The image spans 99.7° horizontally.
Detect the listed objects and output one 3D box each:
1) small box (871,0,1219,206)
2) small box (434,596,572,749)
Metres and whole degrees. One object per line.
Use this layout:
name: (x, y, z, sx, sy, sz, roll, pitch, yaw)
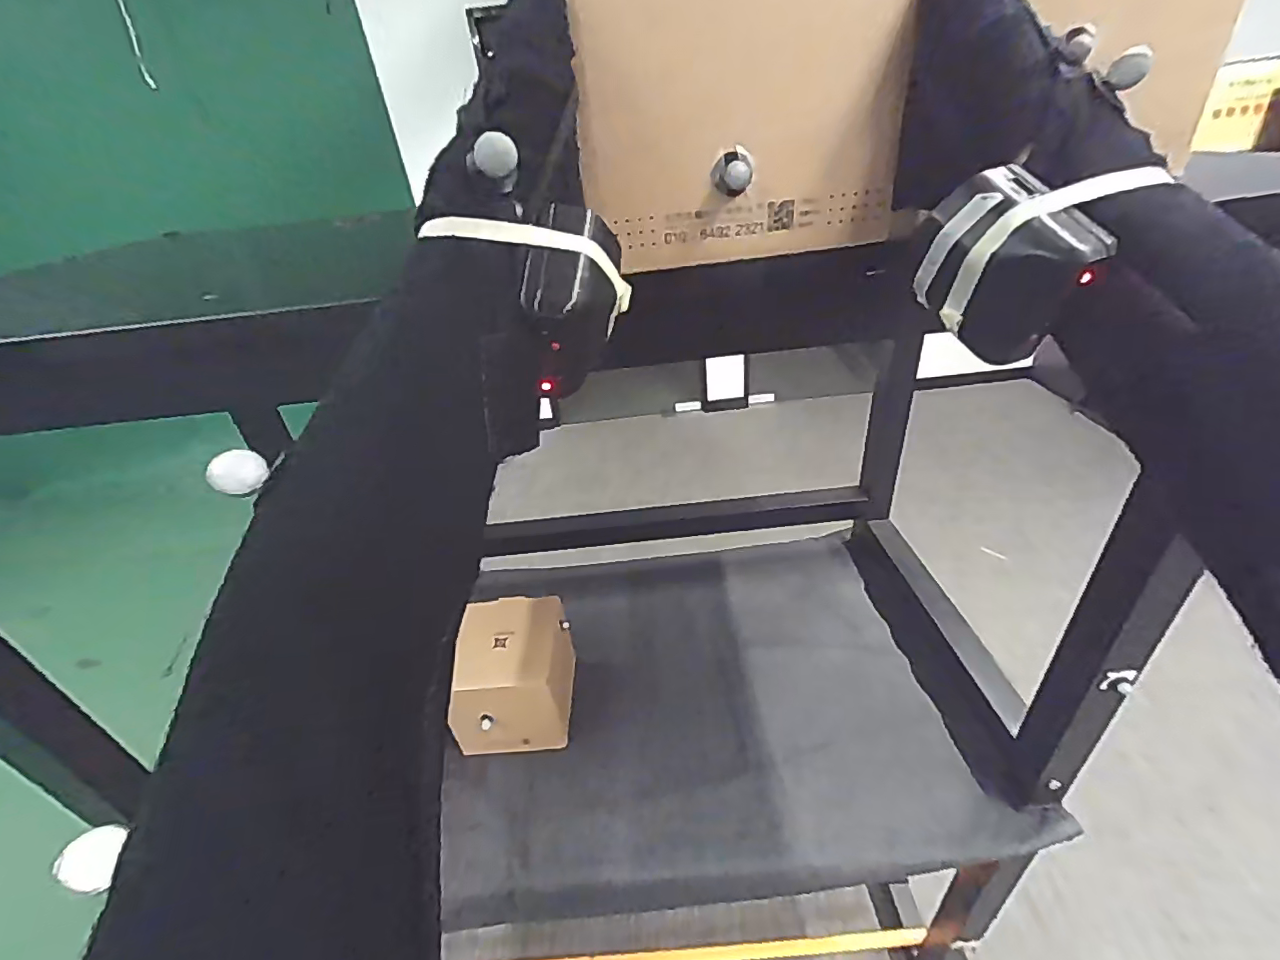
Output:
small box: (0.284, -0.312, 0.409, 0.168, 0.176, 0.179, 0, 33, 11)
small box: (-0.209, 0.317, 0.883, 0.168, 0.176, 0.179, -5, 32, 2)
